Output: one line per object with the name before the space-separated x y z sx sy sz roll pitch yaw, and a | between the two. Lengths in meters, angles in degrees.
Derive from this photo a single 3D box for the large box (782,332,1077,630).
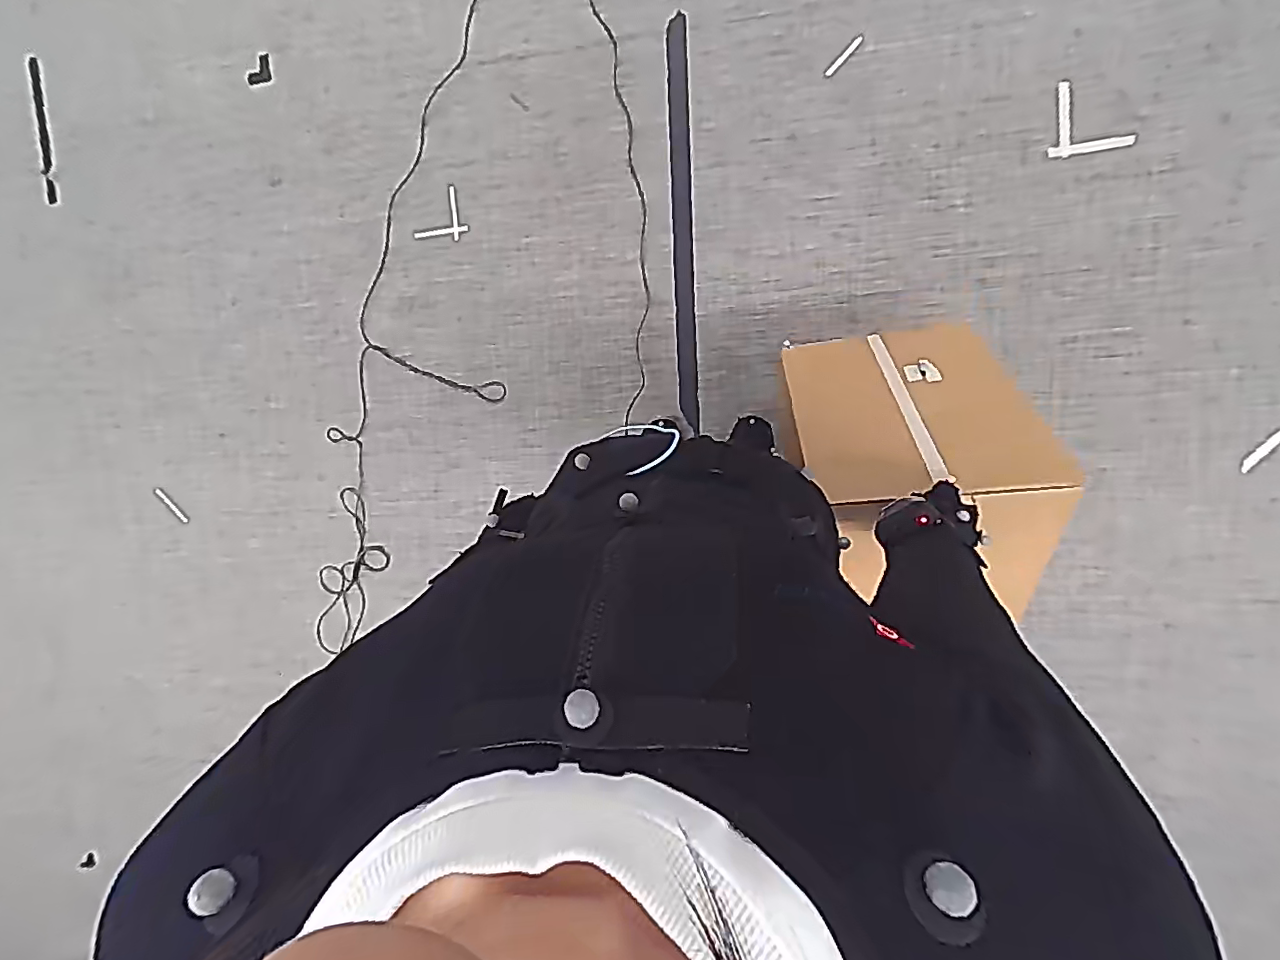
large box | 0.428 -0.003 0.924 0.320 0.408 0.320 -4 132 10
